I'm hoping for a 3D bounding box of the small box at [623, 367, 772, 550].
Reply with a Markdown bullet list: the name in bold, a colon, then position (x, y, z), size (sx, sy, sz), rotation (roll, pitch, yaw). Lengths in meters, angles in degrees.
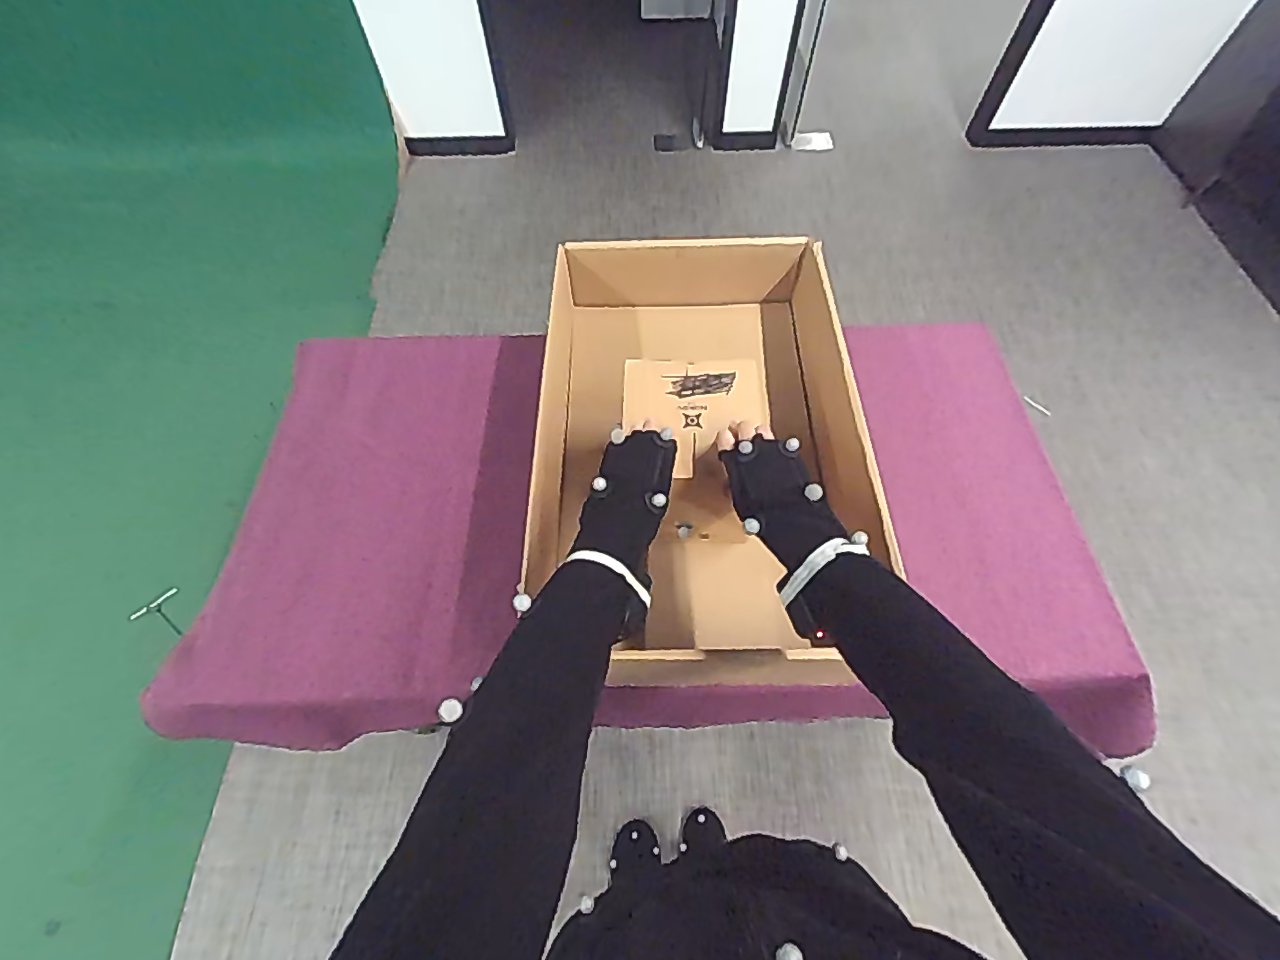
- **small box**: position (0.064, -0.024, 0.697), size (0.168, 0.176, 0.179), rotation (0, 59, 1)
